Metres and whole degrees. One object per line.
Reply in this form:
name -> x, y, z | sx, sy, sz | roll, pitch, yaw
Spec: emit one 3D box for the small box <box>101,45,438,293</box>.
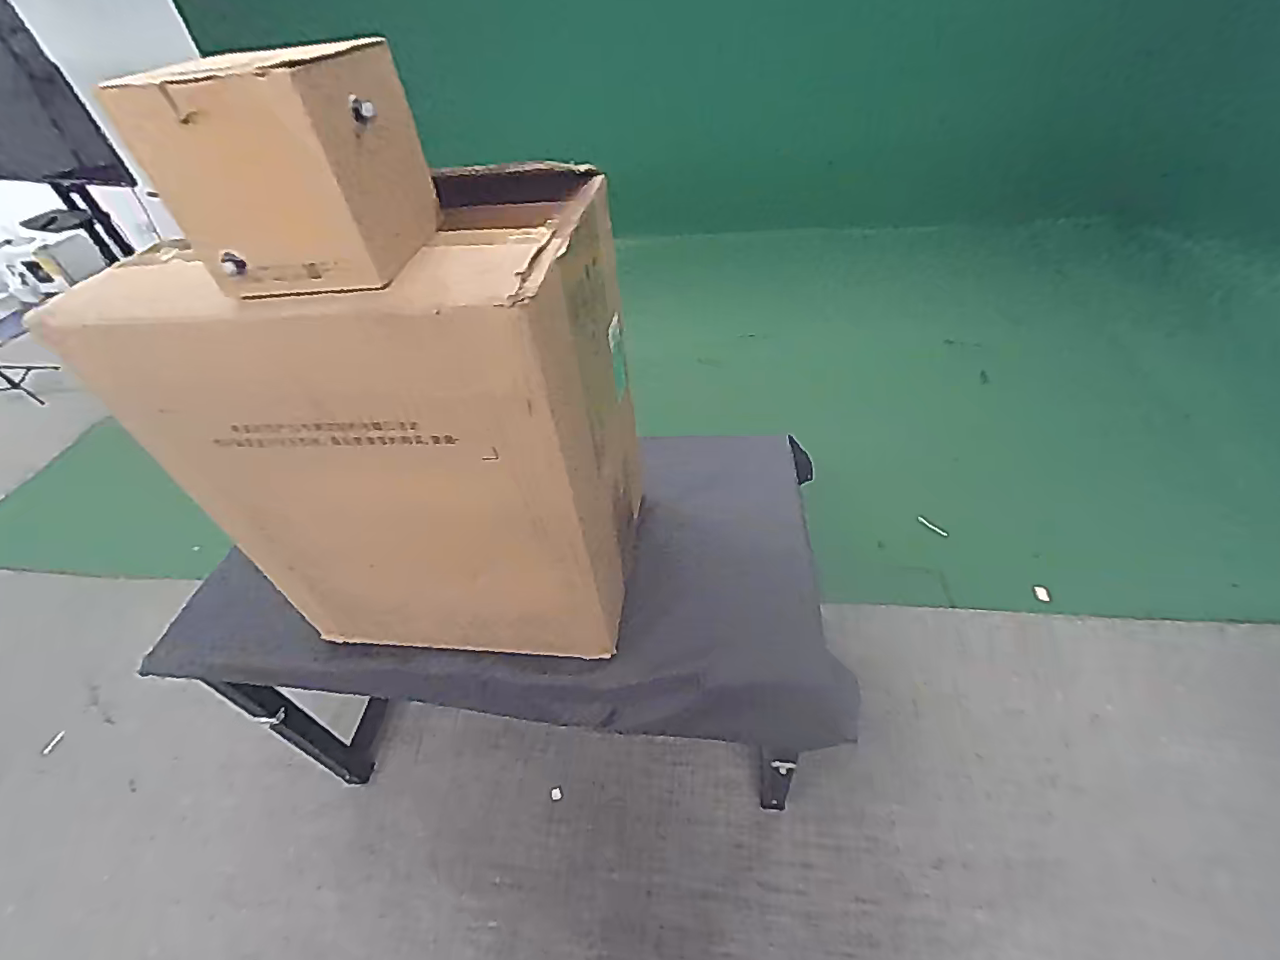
small box -> -0.318, -0.289, 0.517 | 0.168, 0.176, 0.179 | -1, 44, 7
